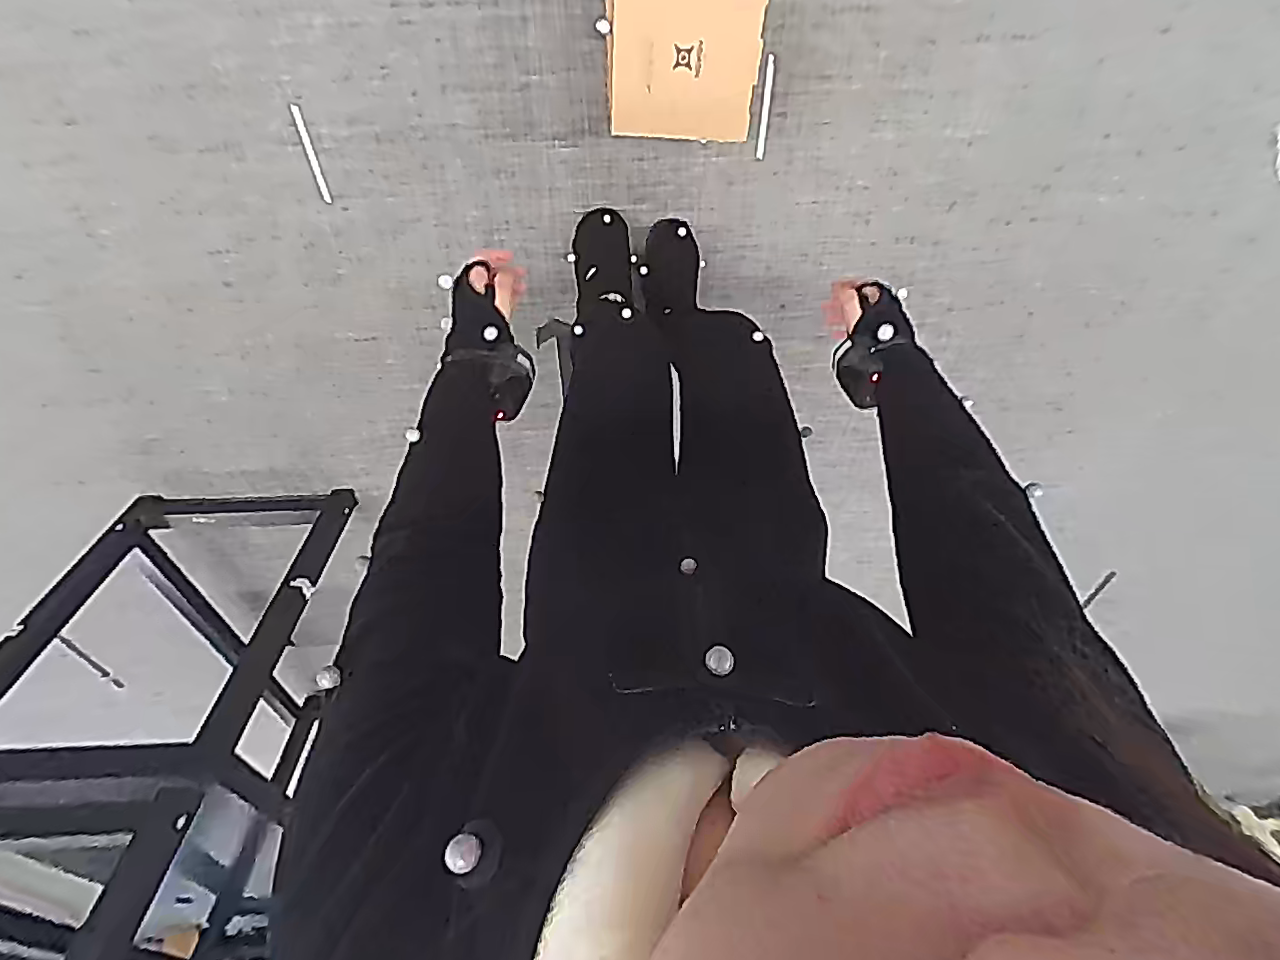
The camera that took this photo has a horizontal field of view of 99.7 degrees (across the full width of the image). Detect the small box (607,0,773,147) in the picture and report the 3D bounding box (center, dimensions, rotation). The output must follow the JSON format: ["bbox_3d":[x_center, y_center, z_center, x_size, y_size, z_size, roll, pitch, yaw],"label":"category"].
[{"bbox_3d":[0.050,-0.536,0.678,0.179,0.176,0.168,1,132,-4],"label":"small box"}]
